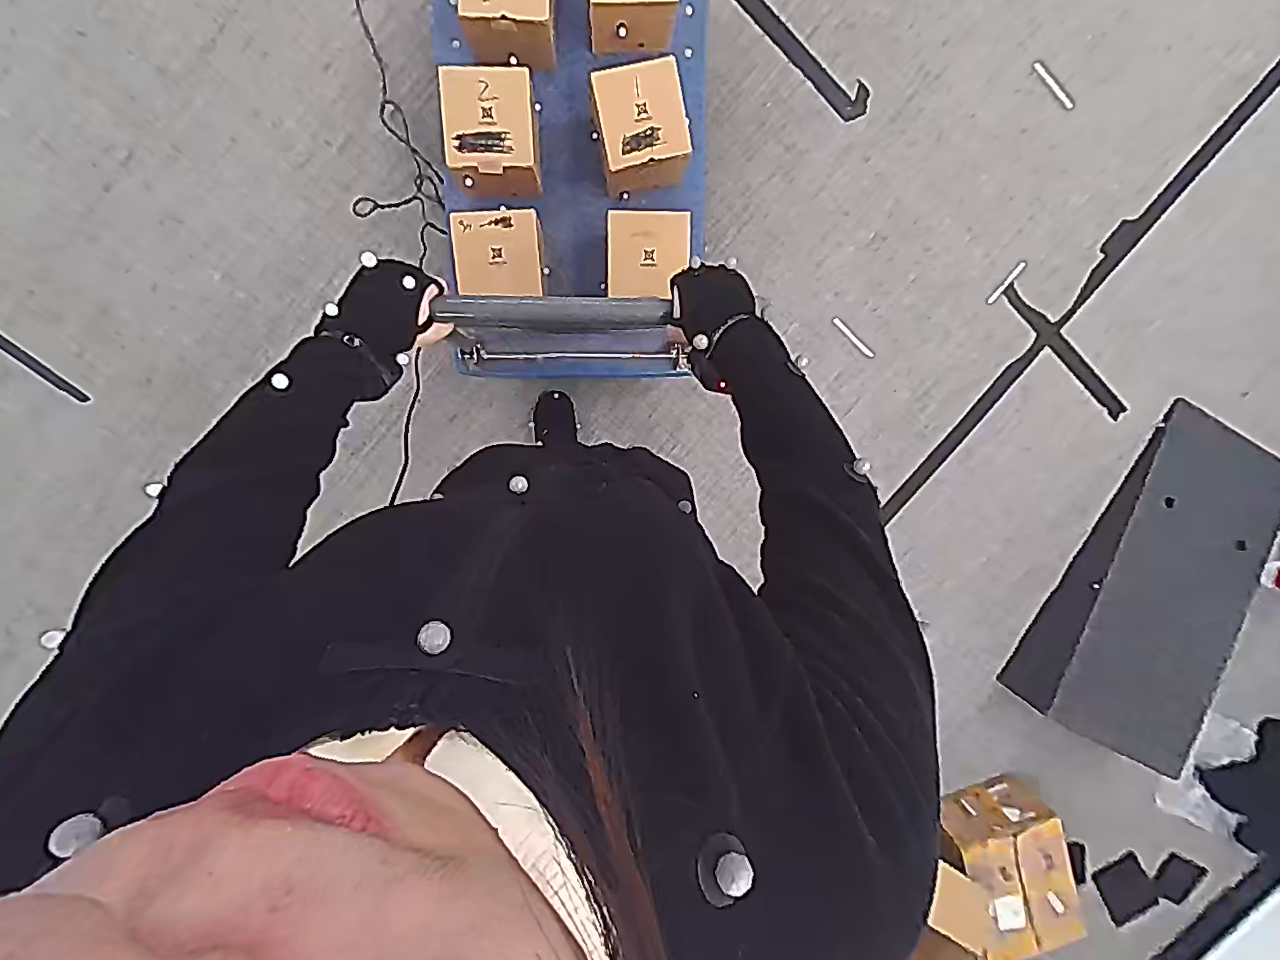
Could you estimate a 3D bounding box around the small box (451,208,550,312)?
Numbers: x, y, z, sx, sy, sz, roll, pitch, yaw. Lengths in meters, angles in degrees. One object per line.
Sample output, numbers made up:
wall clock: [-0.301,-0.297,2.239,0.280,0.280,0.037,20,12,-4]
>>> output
small box: [-0.284,-0.451,1.134,0.168,0.176,0.179,-5,101,-5]

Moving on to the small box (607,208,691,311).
small box: [0.014,-0.462,1.156,0.168,0.176,0.179,-1,100,-5]

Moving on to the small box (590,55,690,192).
small box: [-0.002,-0.715,1.108,0.168,0.176,0.179,-13,100,-2]

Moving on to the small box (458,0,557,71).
small box: [-0.251,-0.942,1.049,0.168,0.176,0.179,1,101,-4]

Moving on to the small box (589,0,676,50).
small box: [-0.020,-0.982,1.060,0.168,0.176,0.179,-4,100,-3]
